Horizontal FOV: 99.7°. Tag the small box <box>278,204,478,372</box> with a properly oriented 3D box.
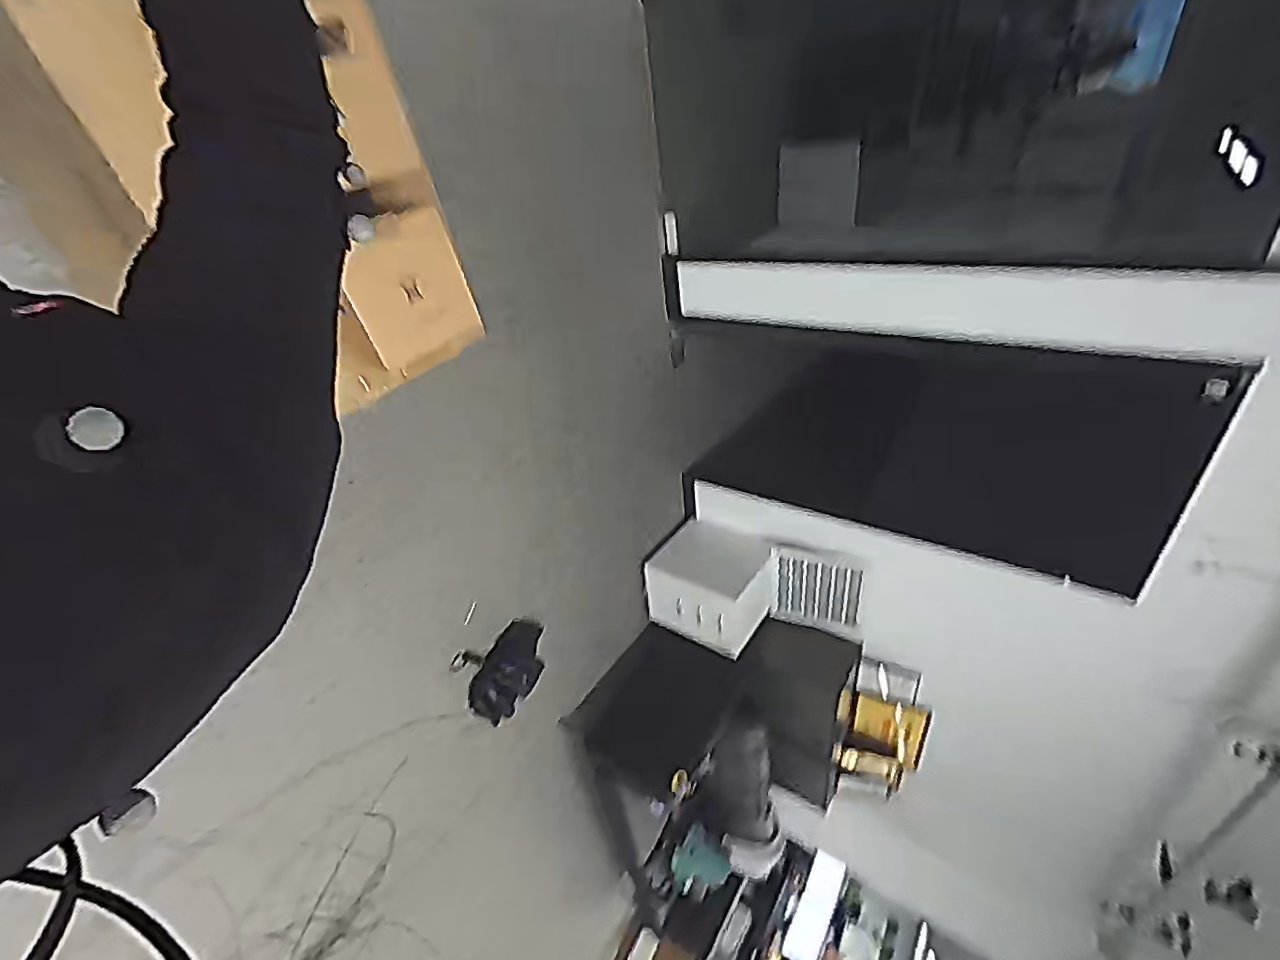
[{"bbox_3d":[-0.375,-0.283,0.782,0.168,0.176,0.179,-42,138,-31],"label":"small box"}]

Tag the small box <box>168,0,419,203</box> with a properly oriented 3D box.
[{"bbox_3d":[-0.411,-0.448,0.650,0.168,0.176,0.179,-42,137,-32],"label":"small box"}]
